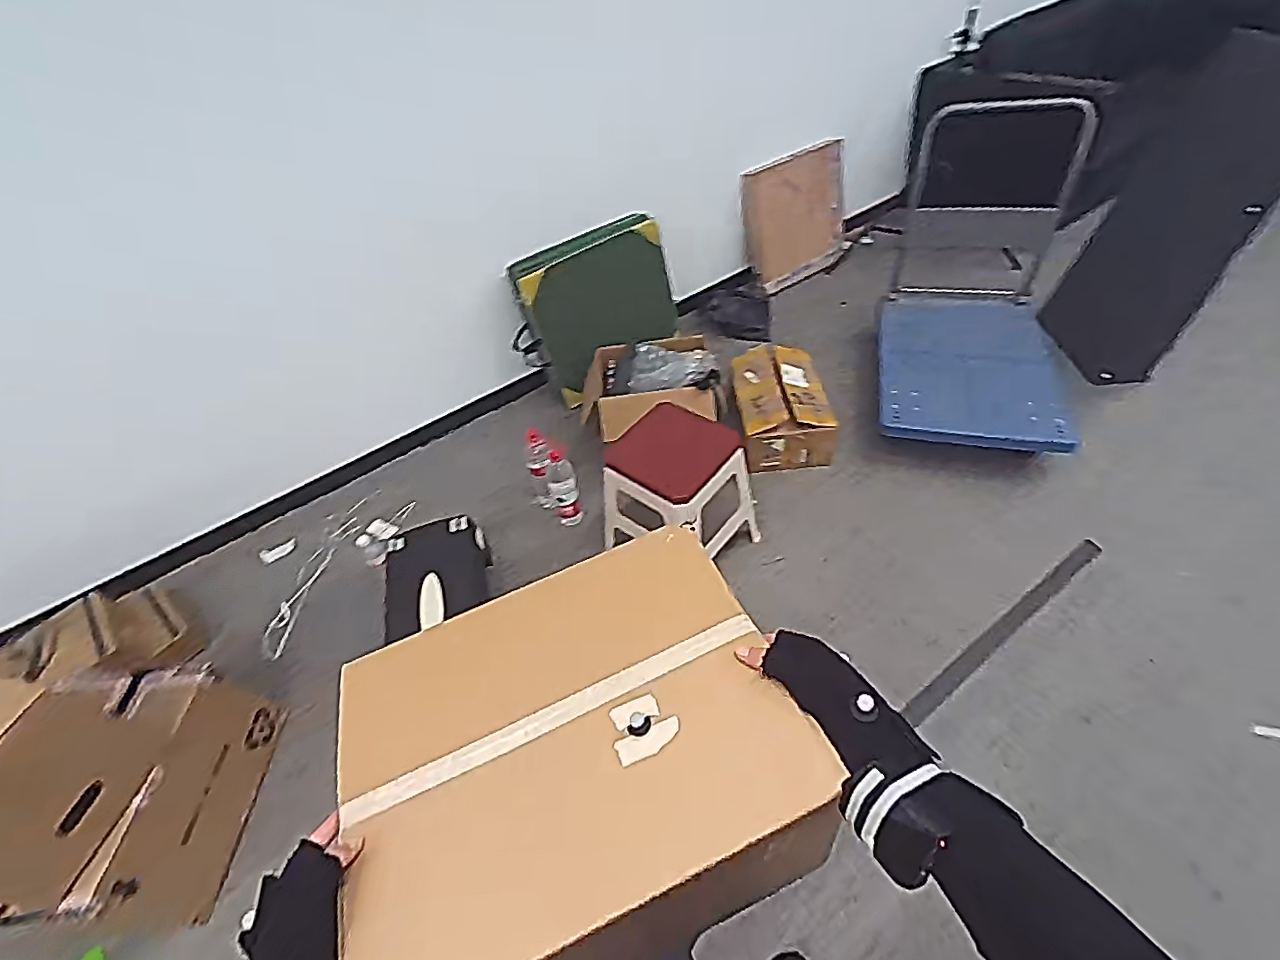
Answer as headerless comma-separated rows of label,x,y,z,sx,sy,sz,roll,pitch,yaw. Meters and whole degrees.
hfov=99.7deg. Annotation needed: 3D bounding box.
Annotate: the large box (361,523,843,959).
large box,-0.043,0.322,0.615,0.408,0.320,0.320,-22,45,-8
